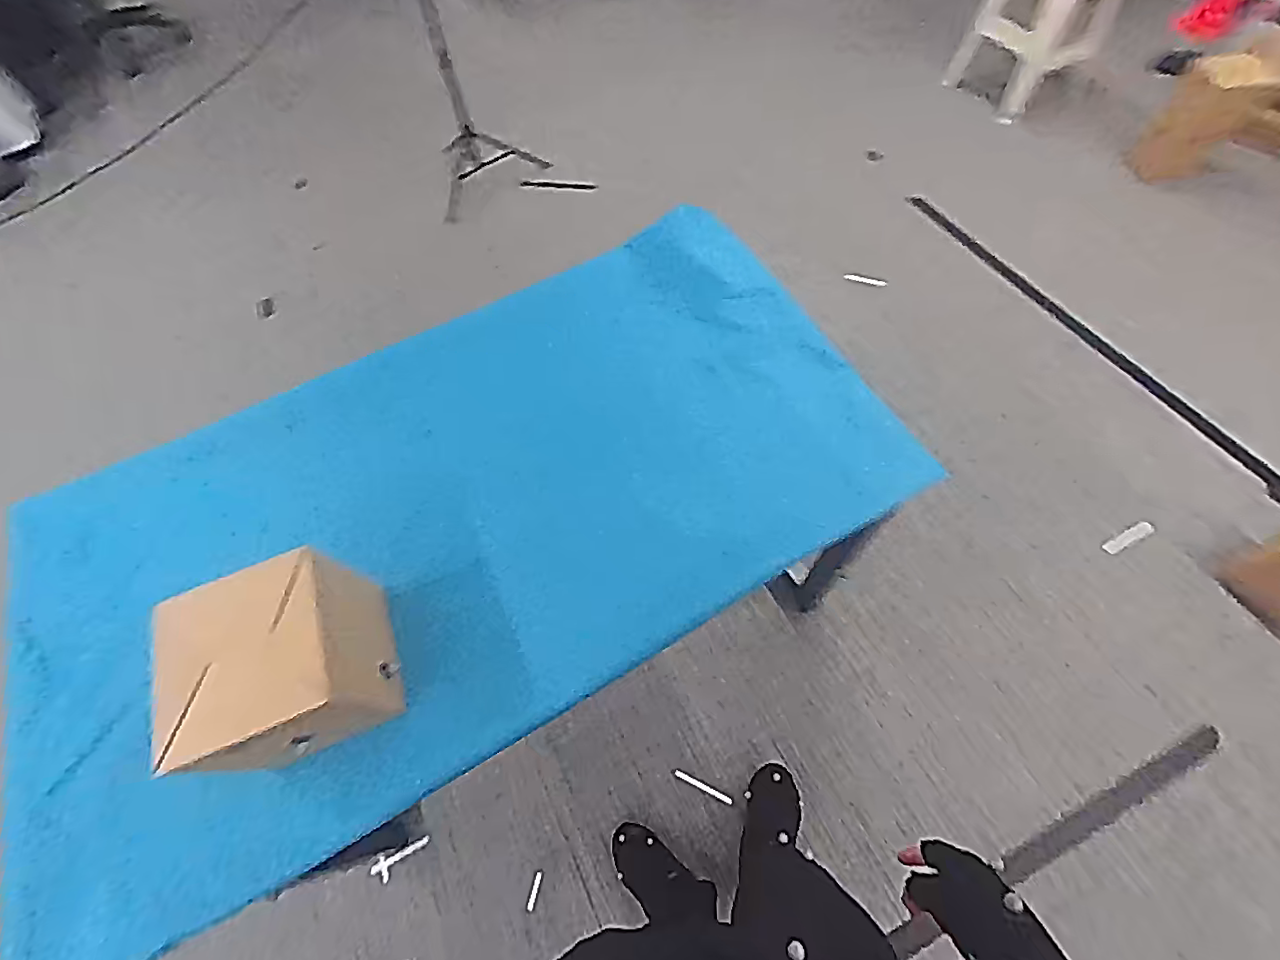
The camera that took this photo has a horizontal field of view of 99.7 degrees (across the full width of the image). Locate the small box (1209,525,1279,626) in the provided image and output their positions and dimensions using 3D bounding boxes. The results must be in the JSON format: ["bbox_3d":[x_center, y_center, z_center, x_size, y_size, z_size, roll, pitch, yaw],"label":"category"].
[{"bbox_3d":[1.533,0.218,1.276,0.168,0.176,0.179,-31,66,-11],"label":"small box"}]

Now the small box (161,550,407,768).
[{"bbox_3d":[-0.399,0.208,0.620,0.168,0.176,0.179,-23,64,-8],"label":"small box"}]
